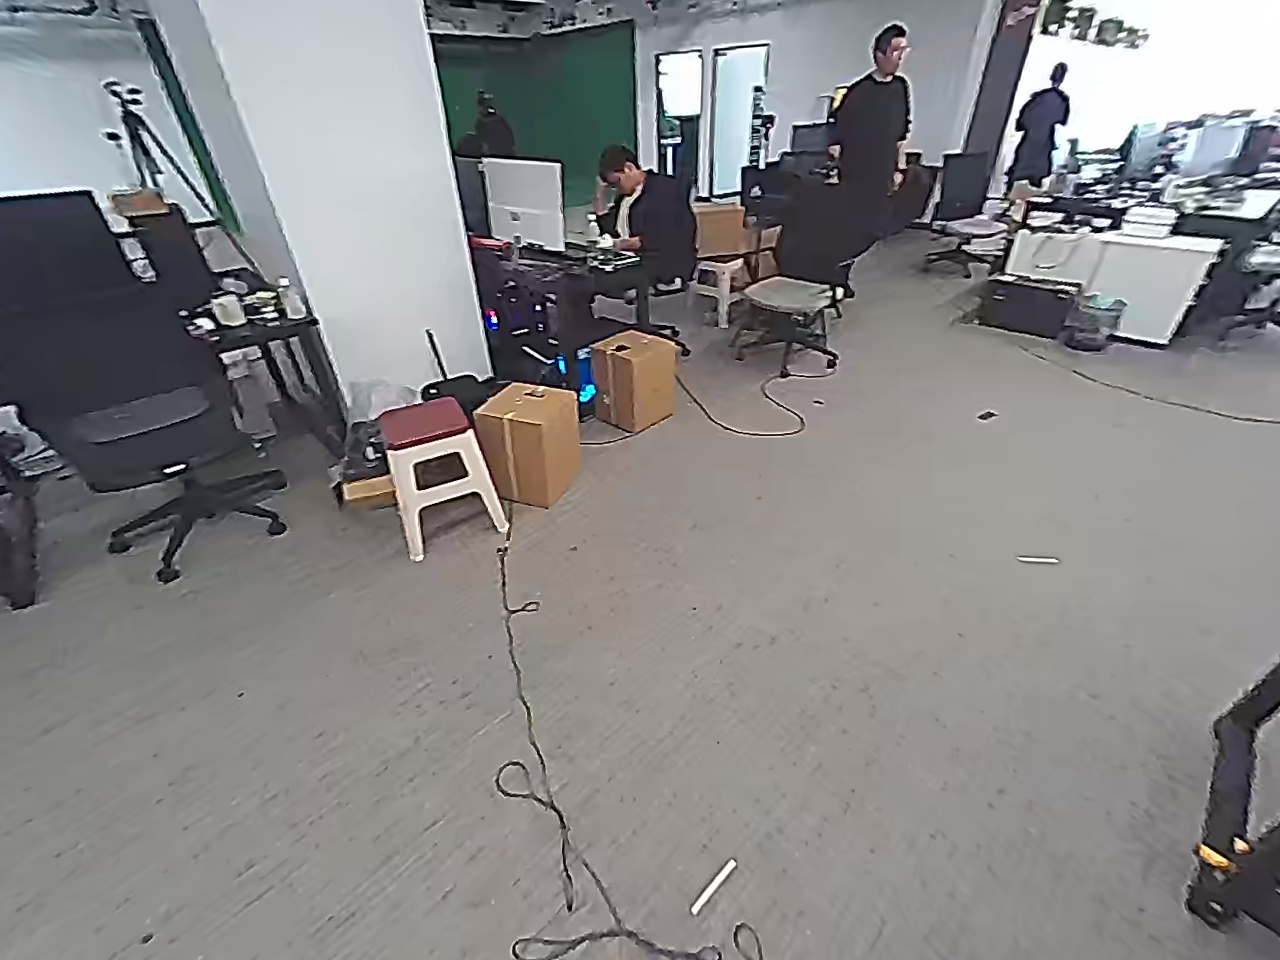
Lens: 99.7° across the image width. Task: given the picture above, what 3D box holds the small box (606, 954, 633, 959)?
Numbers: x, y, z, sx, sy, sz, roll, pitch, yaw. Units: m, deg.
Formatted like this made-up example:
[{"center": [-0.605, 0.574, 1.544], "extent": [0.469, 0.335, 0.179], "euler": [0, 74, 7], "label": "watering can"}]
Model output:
[{"center": [-0.030, 0.443, 0.328], "extent": [0.168, 0.176, 0.179], "euler": [-27, 48, -13], "label": "small box"}]
